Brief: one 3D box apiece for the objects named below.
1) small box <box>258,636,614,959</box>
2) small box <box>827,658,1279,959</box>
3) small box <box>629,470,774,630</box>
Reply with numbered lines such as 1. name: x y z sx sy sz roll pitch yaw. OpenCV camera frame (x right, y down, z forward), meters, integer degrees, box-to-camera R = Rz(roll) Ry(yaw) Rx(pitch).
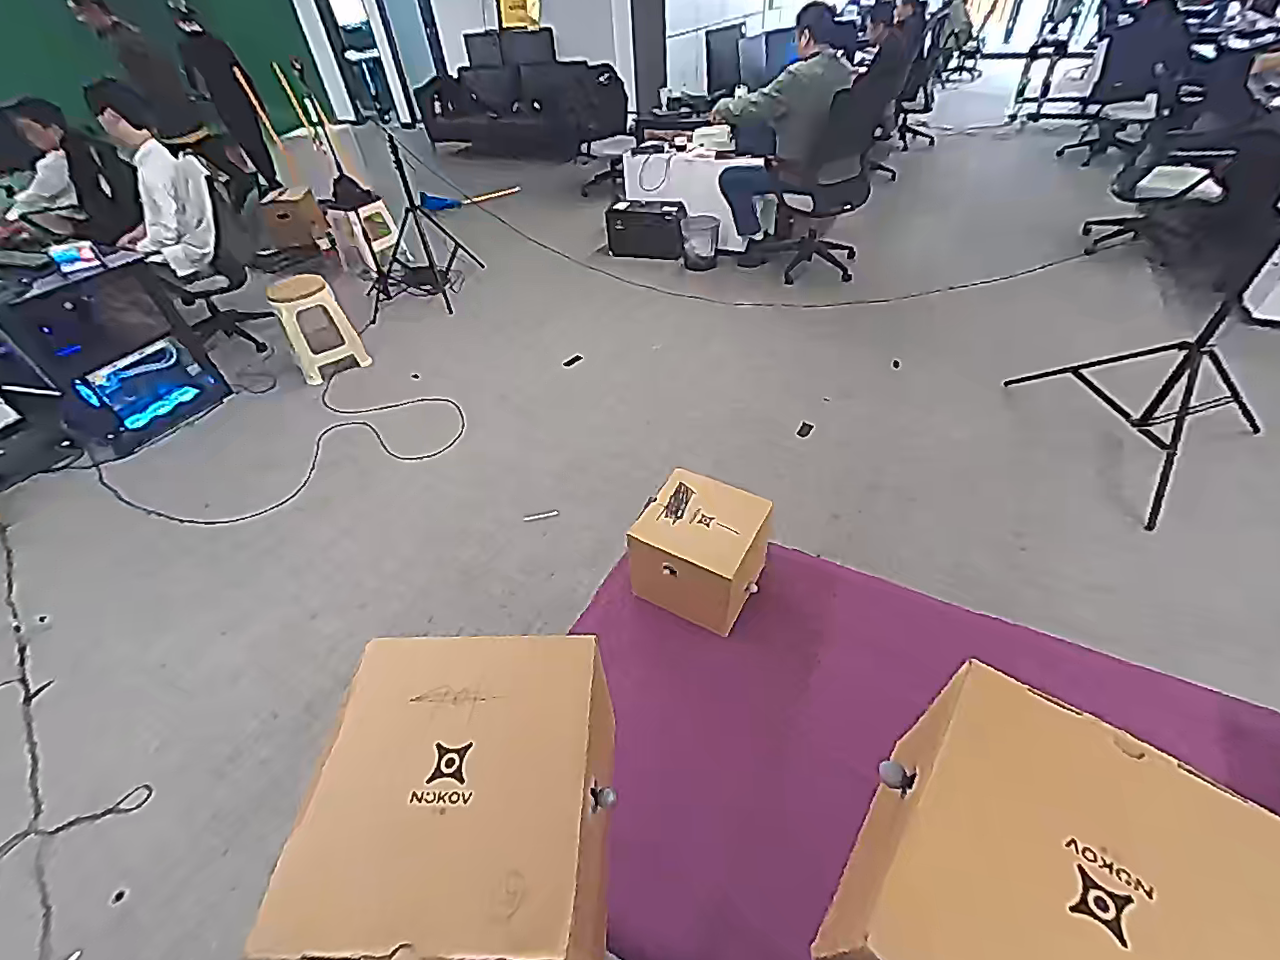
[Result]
1. small box: -0.108 0.231 0.383 0.168 0.176 0.179 -1 44 2
2. small box: 0.226 0.251 0.319 0.168 0.176 0.179 27 54 28
3. small box: 0.101 0.116 0.888 0.179 0.176 0.168 21 51 23
